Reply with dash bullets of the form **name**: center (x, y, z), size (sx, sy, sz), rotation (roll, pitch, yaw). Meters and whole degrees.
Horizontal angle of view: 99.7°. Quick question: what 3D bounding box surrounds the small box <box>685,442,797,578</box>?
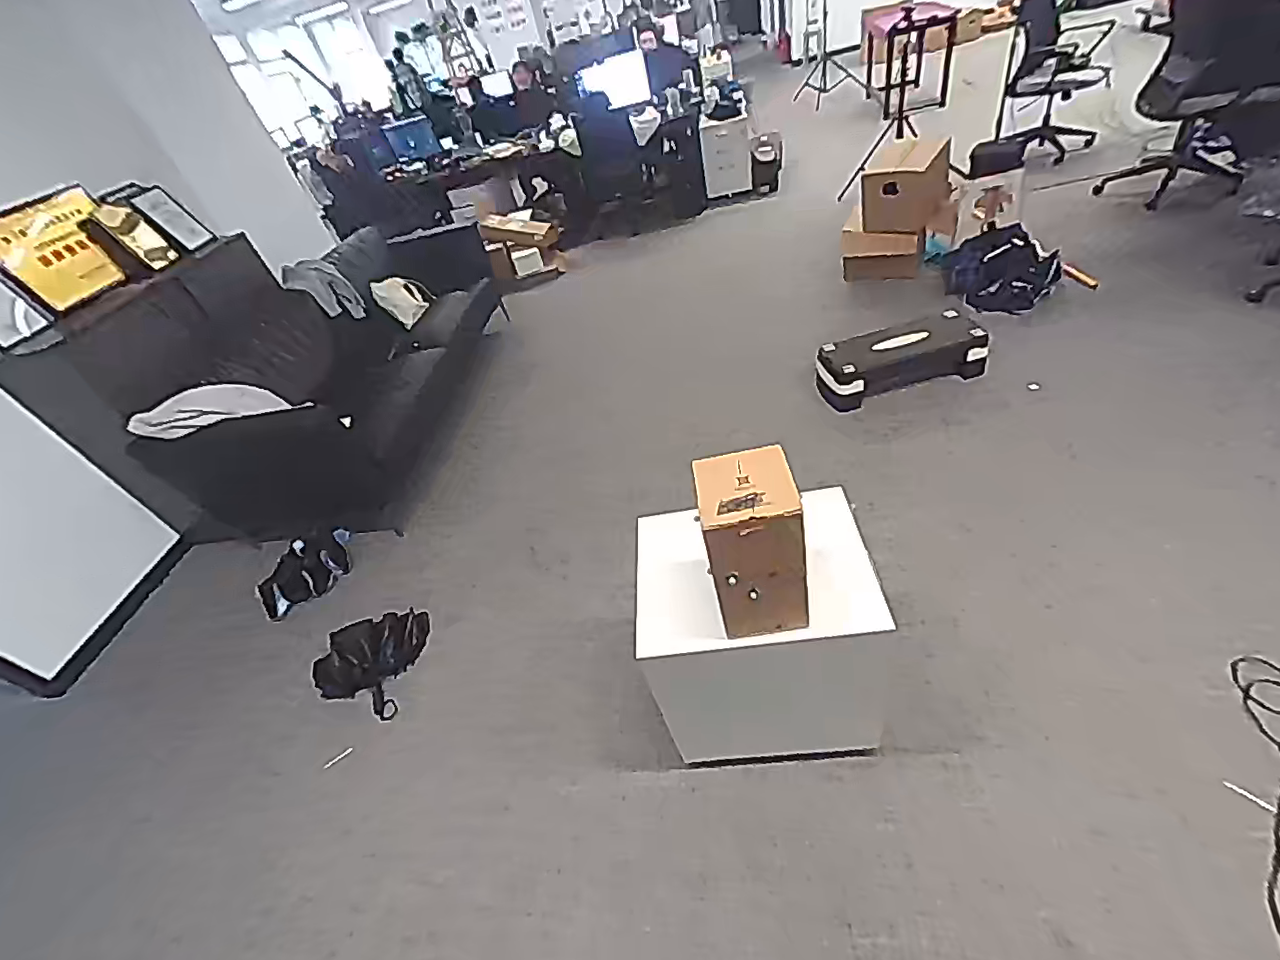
- **small box**: center (0.183, 0.061, 0.982), size (0.168, 0.176, 0.179), rotation (-11, 39, 7)

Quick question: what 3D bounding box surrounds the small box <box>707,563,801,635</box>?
- **small box**: center (0.220, 0.182, 1.088), size (0.168, 0.176, 0.179), rotation (-12, 39, 7)
